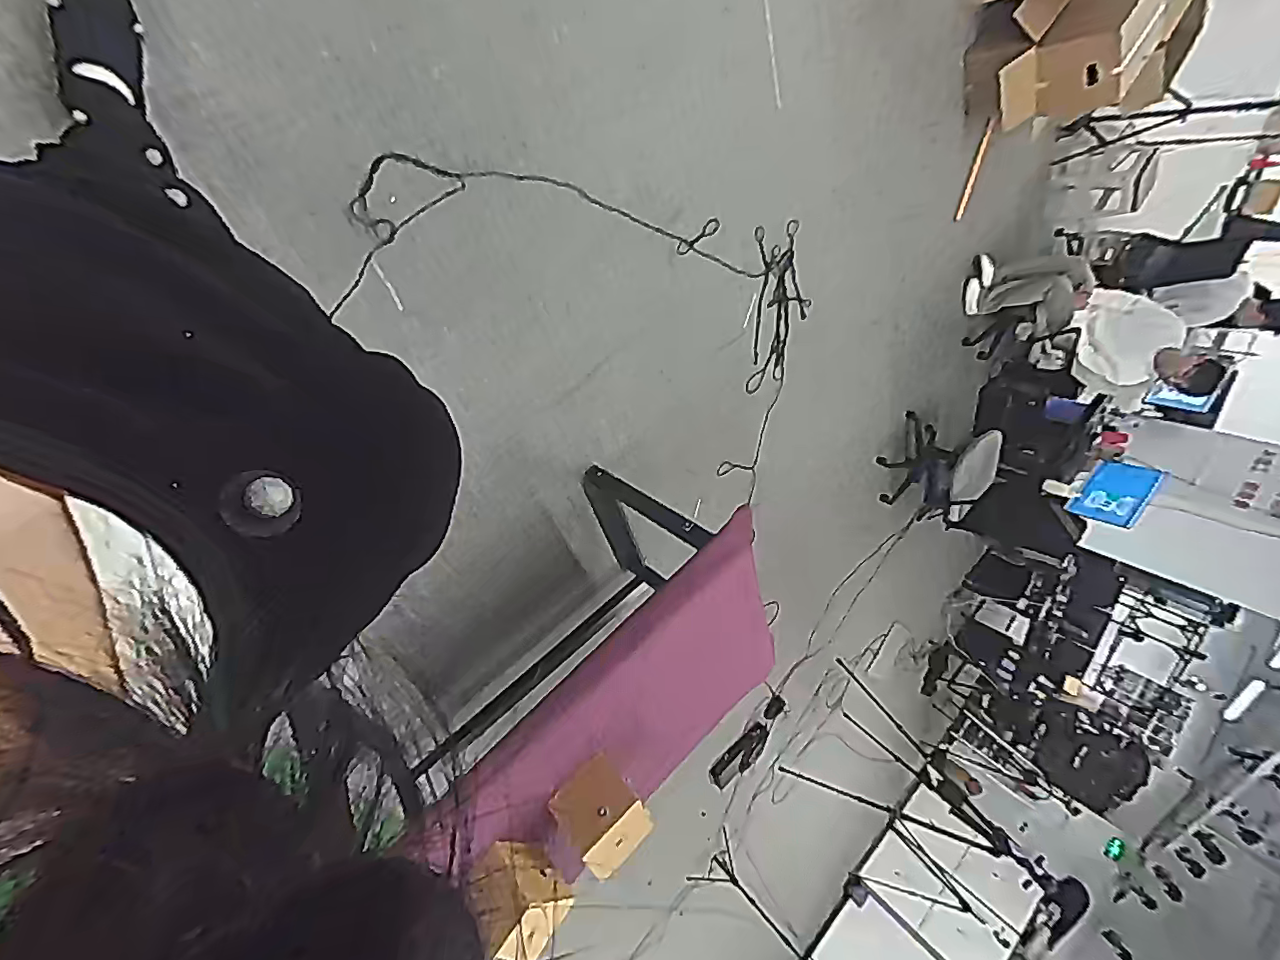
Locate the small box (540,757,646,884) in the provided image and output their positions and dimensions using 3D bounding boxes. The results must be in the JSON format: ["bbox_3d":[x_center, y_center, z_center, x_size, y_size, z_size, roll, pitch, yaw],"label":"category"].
[{"bbox_3d":[-0.115,0.827,1.328,0.179,0.176,0.168,-35,130,-24],"label":"small box"}]

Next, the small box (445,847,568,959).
[{"bbox_3d":[-0.305,0.966,1.220,0.179,0.176,0.168,-54,137,-8],"label":"small box"}]
